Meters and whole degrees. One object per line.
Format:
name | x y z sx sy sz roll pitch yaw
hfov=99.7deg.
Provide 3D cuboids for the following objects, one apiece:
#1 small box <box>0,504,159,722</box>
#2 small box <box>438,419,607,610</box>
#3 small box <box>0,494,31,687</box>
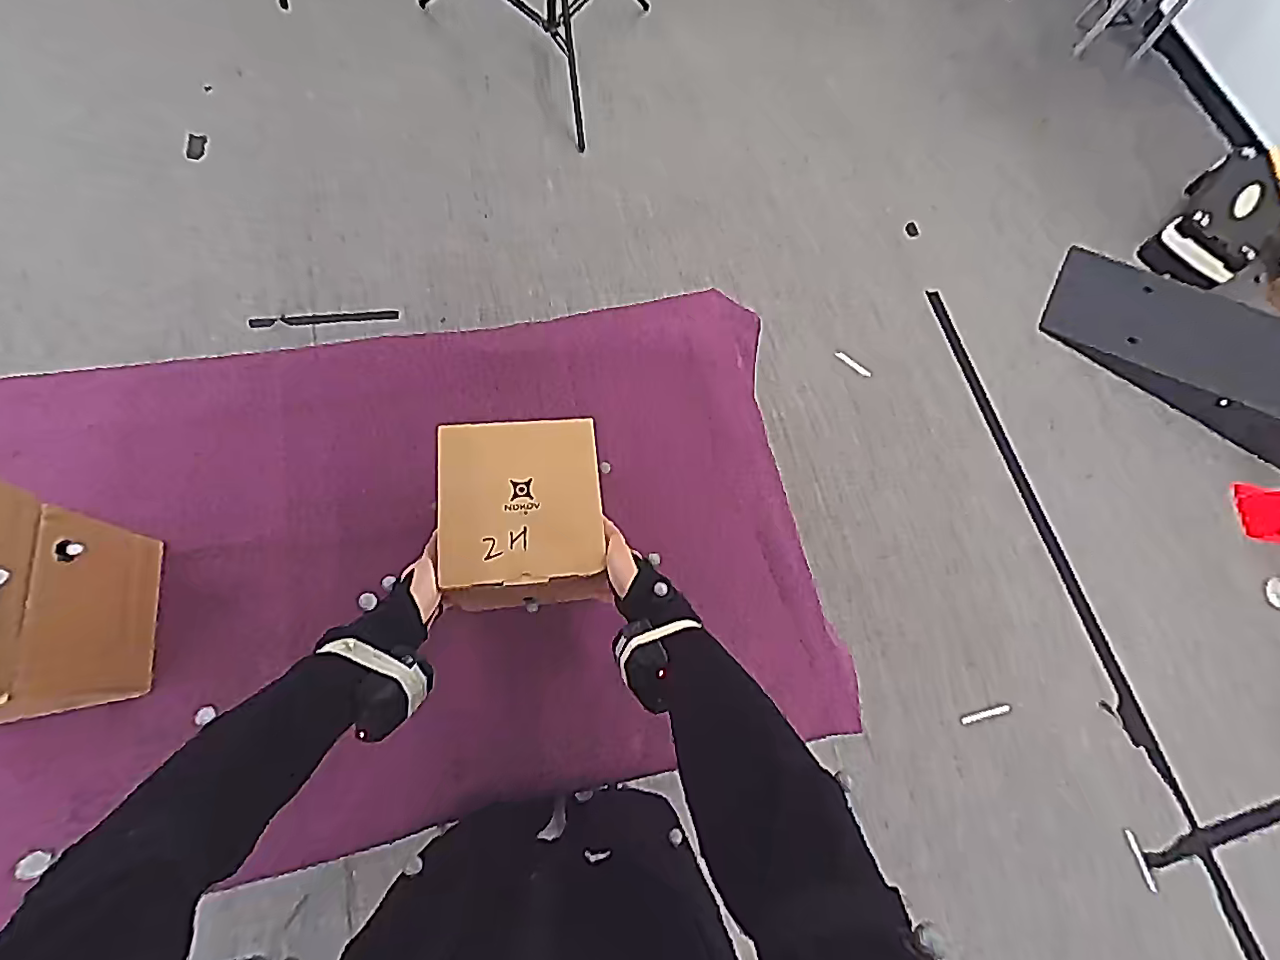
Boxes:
small box | -0.617 0.139 0.523 0.168 0.176 0.179 -8 71 -12
small box | -0.133 0.046 0.630 0.168 0.176 0.179 -4 70 -9
small box | -0.595 0.076 0.373 0.168 0.176 0.179 -9 71 -12
